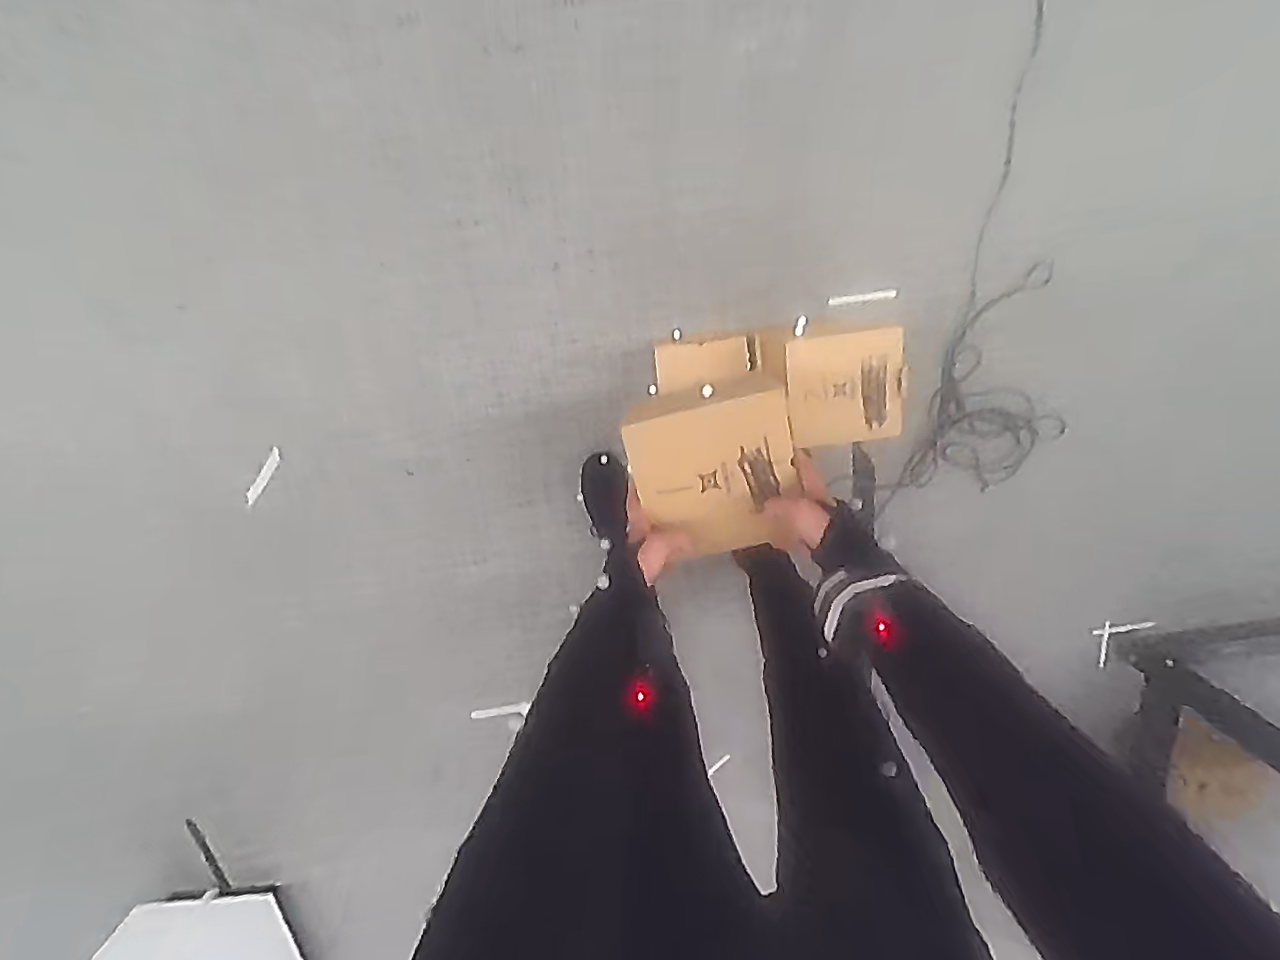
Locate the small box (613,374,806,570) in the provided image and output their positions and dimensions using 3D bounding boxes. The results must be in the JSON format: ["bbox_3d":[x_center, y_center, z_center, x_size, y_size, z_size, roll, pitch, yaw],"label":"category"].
[{"bbox_3d":[0.077,-0.019,0.638,0.179,0.176,0.168,-14,106,7],"label":"small box"}]
